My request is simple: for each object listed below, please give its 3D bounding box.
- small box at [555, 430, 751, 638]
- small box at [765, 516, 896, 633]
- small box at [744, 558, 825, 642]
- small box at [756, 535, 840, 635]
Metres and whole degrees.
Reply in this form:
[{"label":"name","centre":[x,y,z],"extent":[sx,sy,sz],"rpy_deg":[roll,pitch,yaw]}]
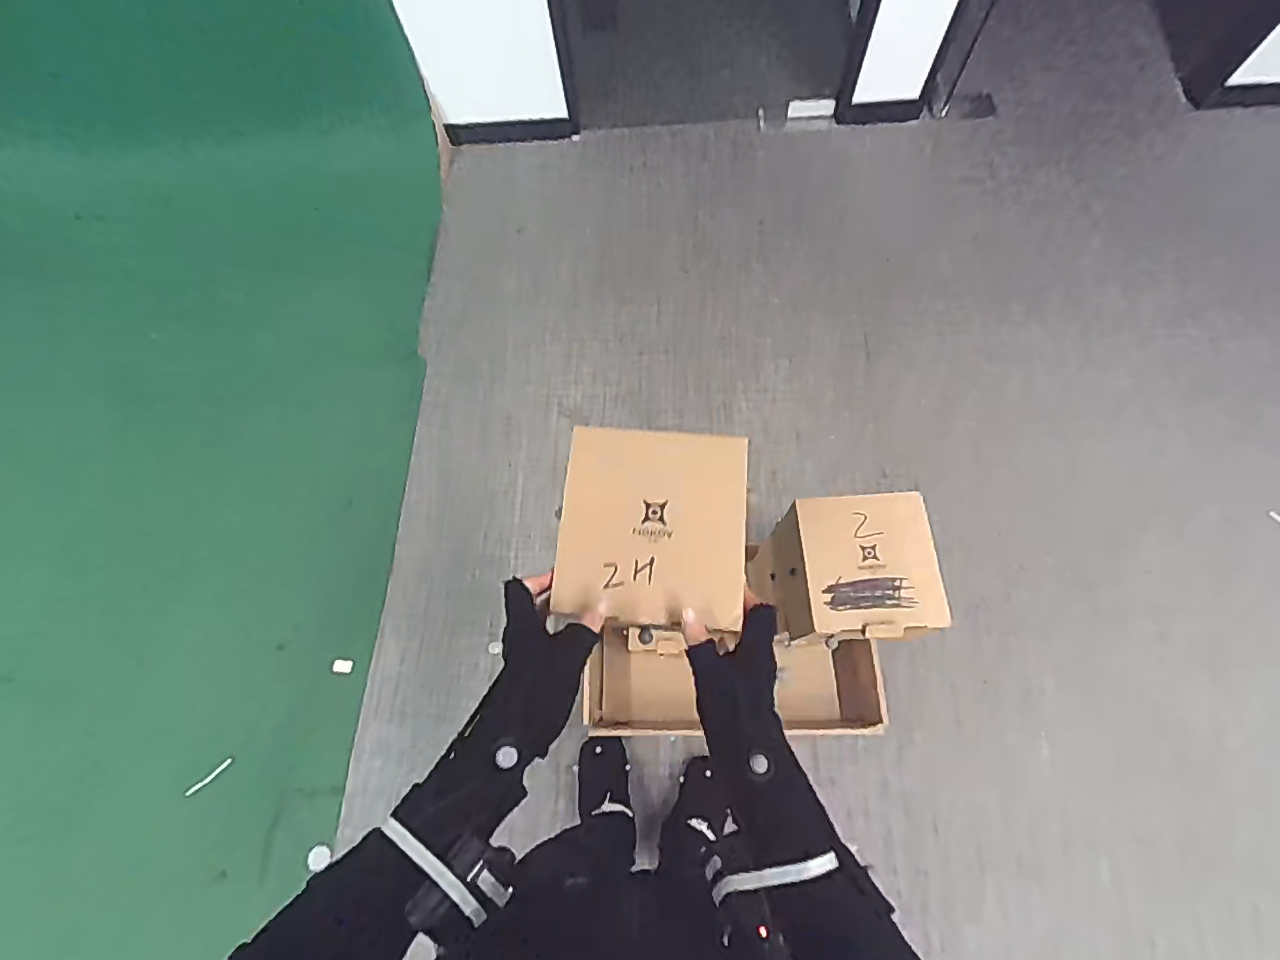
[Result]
[{"label":"small box","centre":[0.016,0.065,0.562],"extent":[0.168,0.176,0.179],"rpy_deg":[5,73,3]},{"label":"small box","centre":[0.310,0.166,0.915],"extent":[0.168,0.176,0.179],"rpy_deg":[-1,70,4]},{"label":"small box","centre":[0.322,0.272,1.226],"extent":[0.168,0.176,0.179],"rpy_deg":[-6,69,3]},{"label":"small box","centre":[0.322,0.209,1.055],"extent":[0.168,0.176,0.179],"rpy_deg":[-2,70,4]}]
